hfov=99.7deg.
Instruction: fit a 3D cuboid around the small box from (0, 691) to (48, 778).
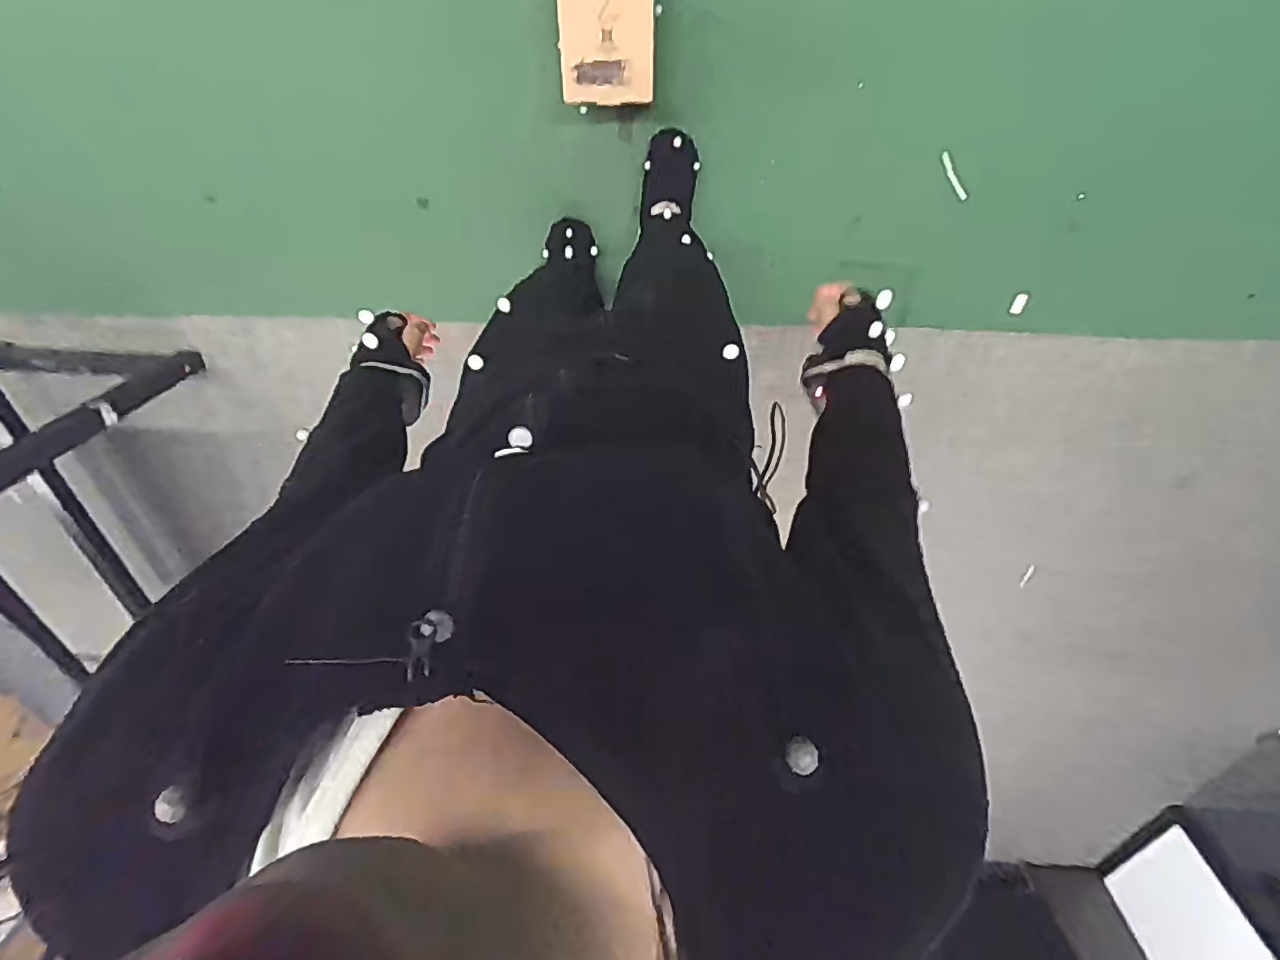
[{"bbox_3d":[-1.459,0.563,1.152,0.179,0.176,0.168,3,127,1],"label":"small box"}]
